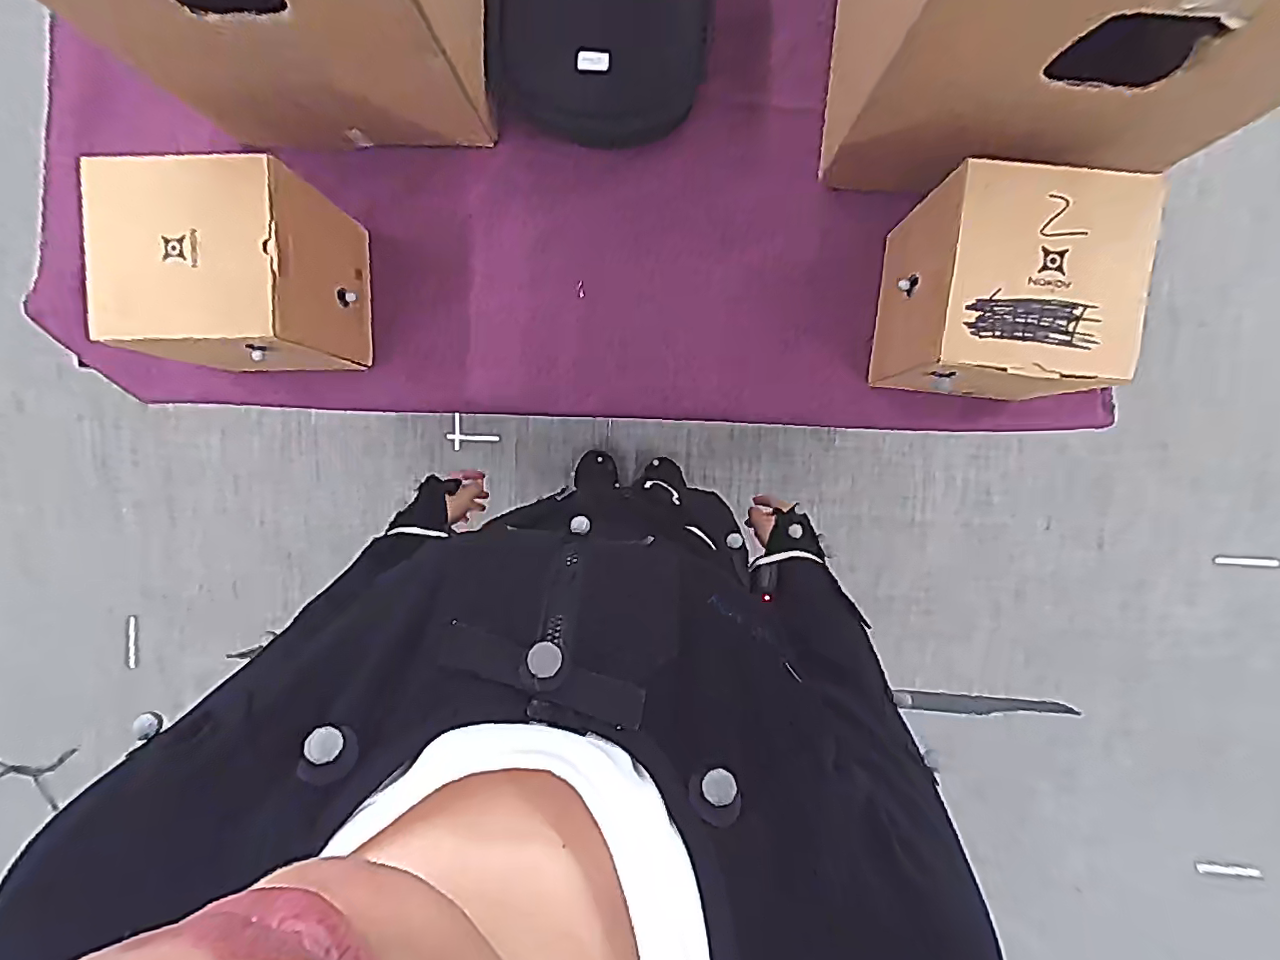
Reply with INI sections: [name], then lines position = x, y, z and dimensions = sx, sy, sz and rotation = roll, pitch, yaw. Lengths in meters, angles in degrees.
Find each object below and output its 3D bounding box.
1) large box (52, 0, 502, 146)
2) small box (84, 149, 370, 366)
[large box]
position = -0.316, -0.581, 0.475
dimensions = 0.320, 0.320, 0.408
rotation = 1, 96, 2
[small box]
position = -0.413, -0.216, 0.568
dimensions = 0.179, 0.176, 0.168
rotation = -1, 92, 1
